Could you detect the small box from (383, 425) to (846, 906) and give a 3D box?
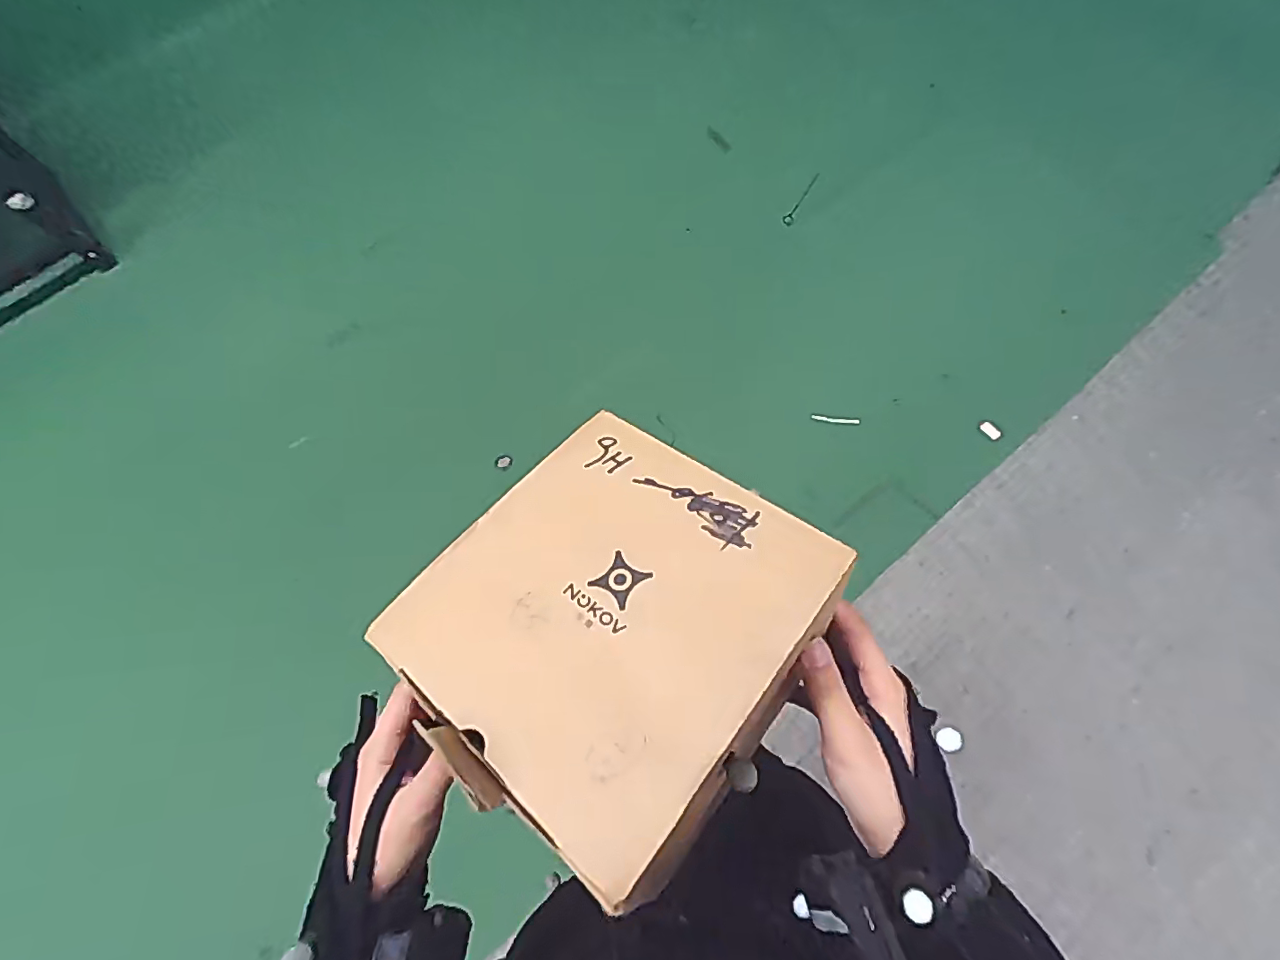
[{"bbox_3d":[-0.003,0.107,0.327,0.168,0.176,0.179,32,65,27],"label":"small box"}]
